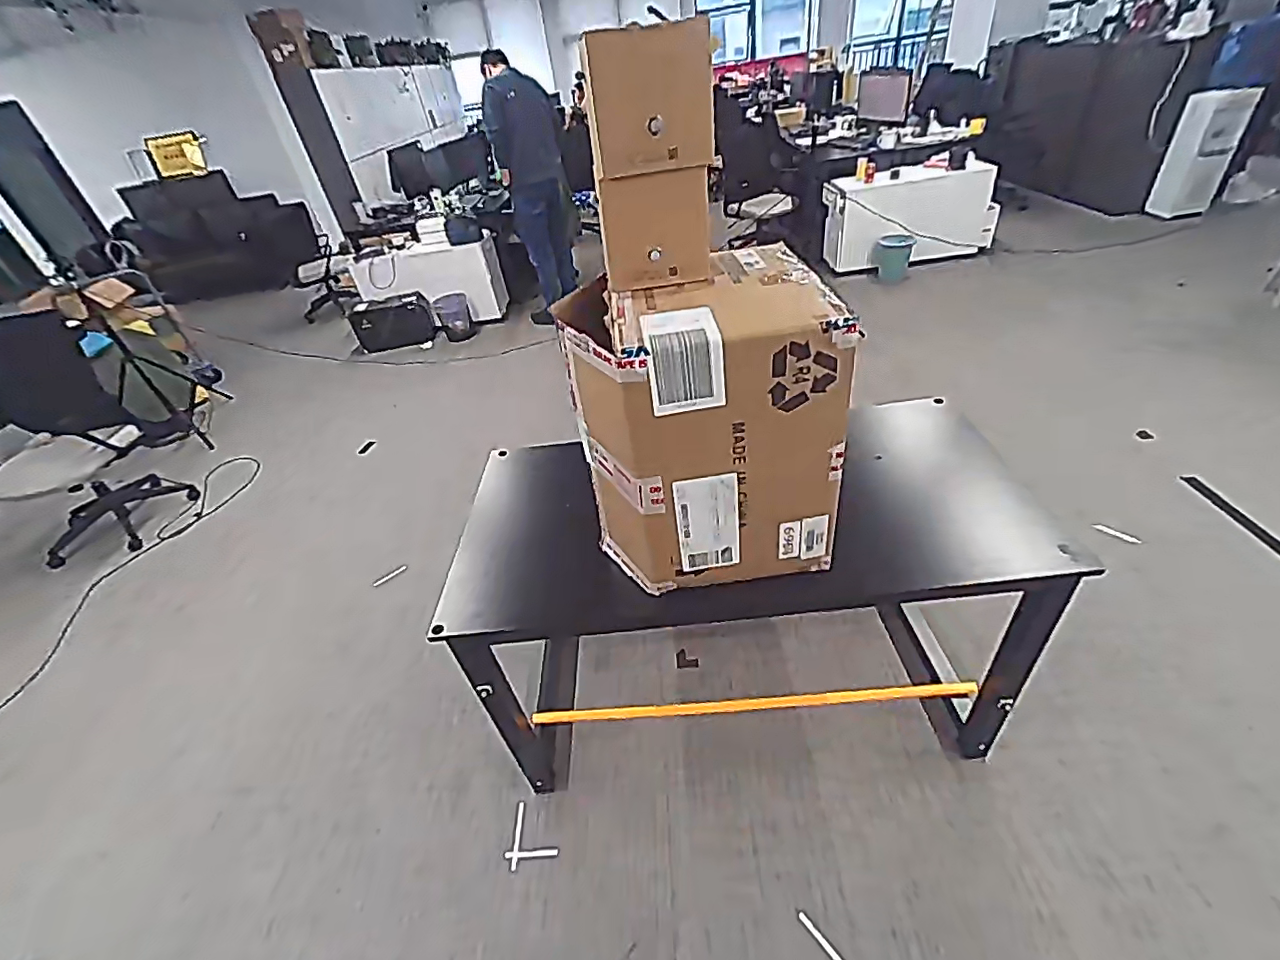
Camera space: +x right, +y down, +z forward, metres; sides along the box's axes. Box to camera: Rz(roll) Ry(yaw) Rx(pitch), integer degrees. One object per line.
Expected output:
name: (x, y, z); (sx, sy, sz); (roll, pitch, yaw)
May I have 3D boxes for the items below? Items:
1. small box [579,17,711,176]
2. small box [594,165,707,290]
small box: (0.005, -0.560, 0.803); (0.168, 0.176, 0.179); (-10, 36, -3)
small box: (0.016, -0.431, 0.906); (0.168, 0.176, 0.179); (-9, 36, -1)
